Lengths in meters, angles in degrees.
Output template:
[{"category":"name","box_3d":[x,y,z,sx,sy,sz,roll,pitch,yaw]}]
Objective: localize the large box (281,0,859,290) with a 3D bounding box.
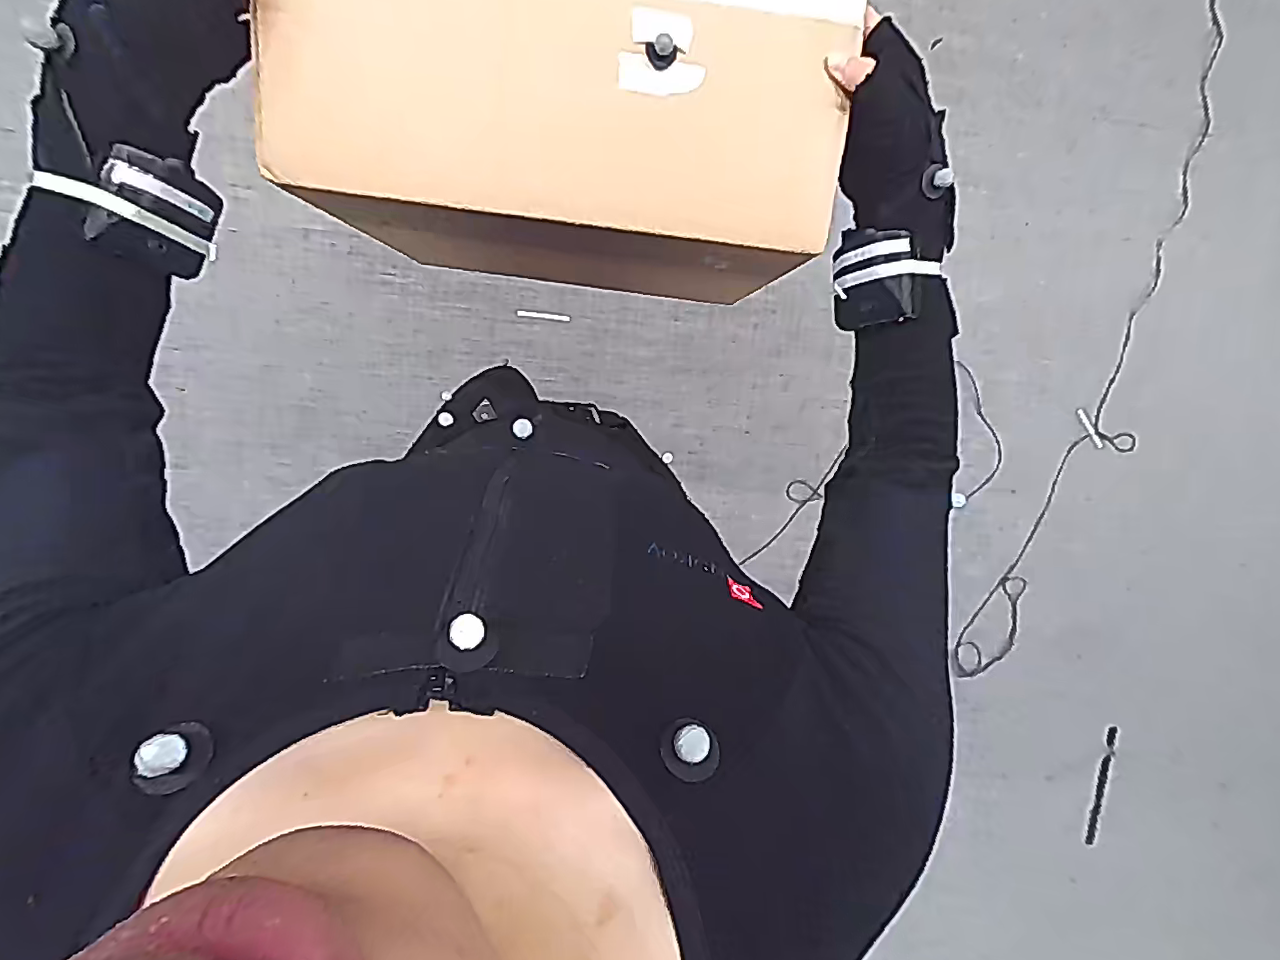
[{"category":"large box","box_3d":[-0.051,-0.382,0.517,0.408,0.320,0.320,6,102,-5]}]
